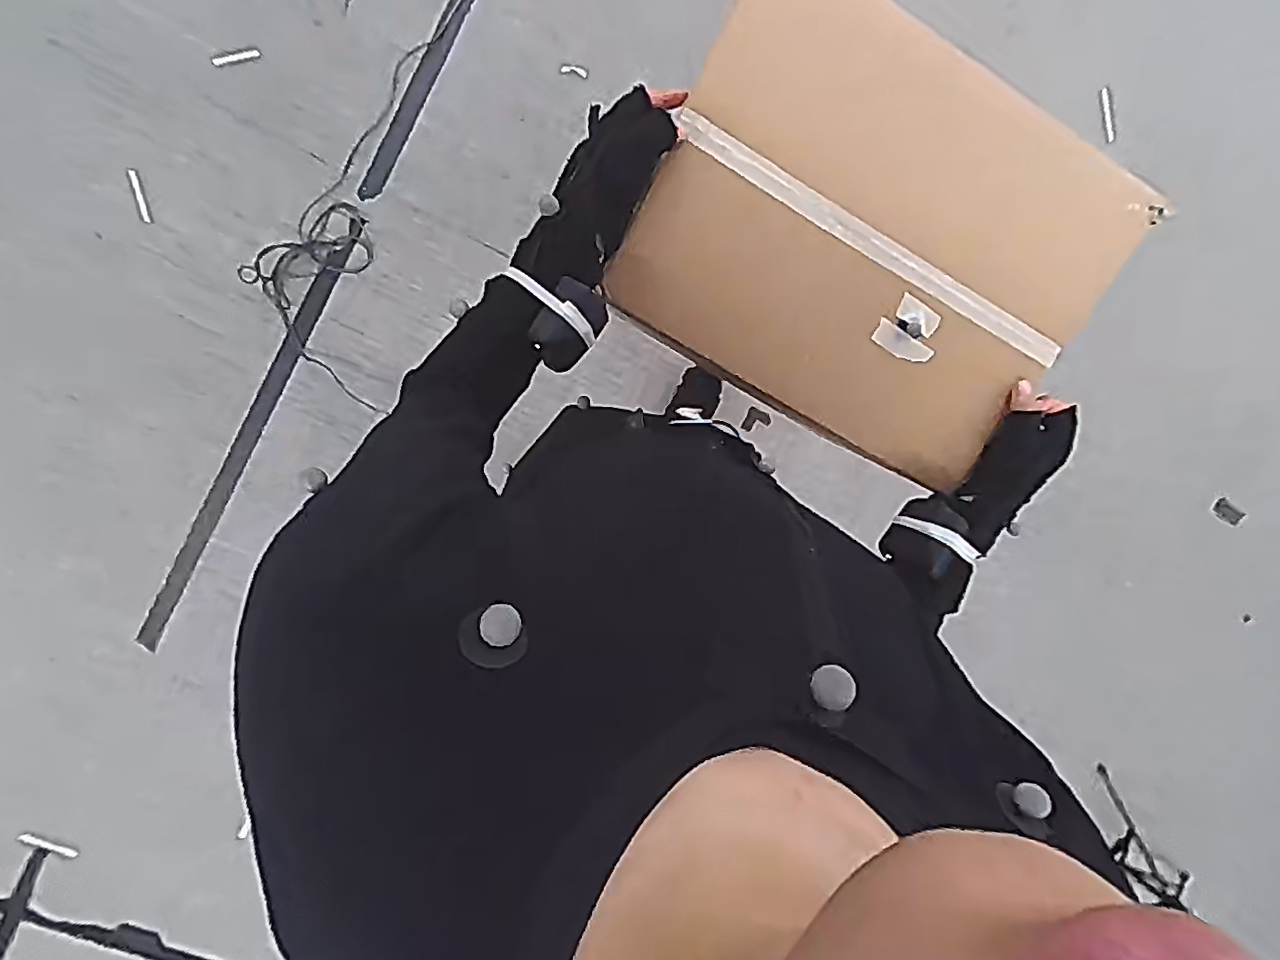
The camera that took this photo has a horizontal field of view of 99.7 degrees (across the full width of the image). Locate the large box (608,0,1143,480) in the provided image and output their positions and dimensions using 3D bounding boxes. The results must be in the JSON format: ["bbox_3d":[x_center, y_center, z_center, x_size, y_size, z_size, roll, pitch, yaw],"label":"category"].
[{"bbox_3d":[0.206,-0.254,0.635,0.408,0.320,0.320,28,103,-9],"label":"large box"}]
